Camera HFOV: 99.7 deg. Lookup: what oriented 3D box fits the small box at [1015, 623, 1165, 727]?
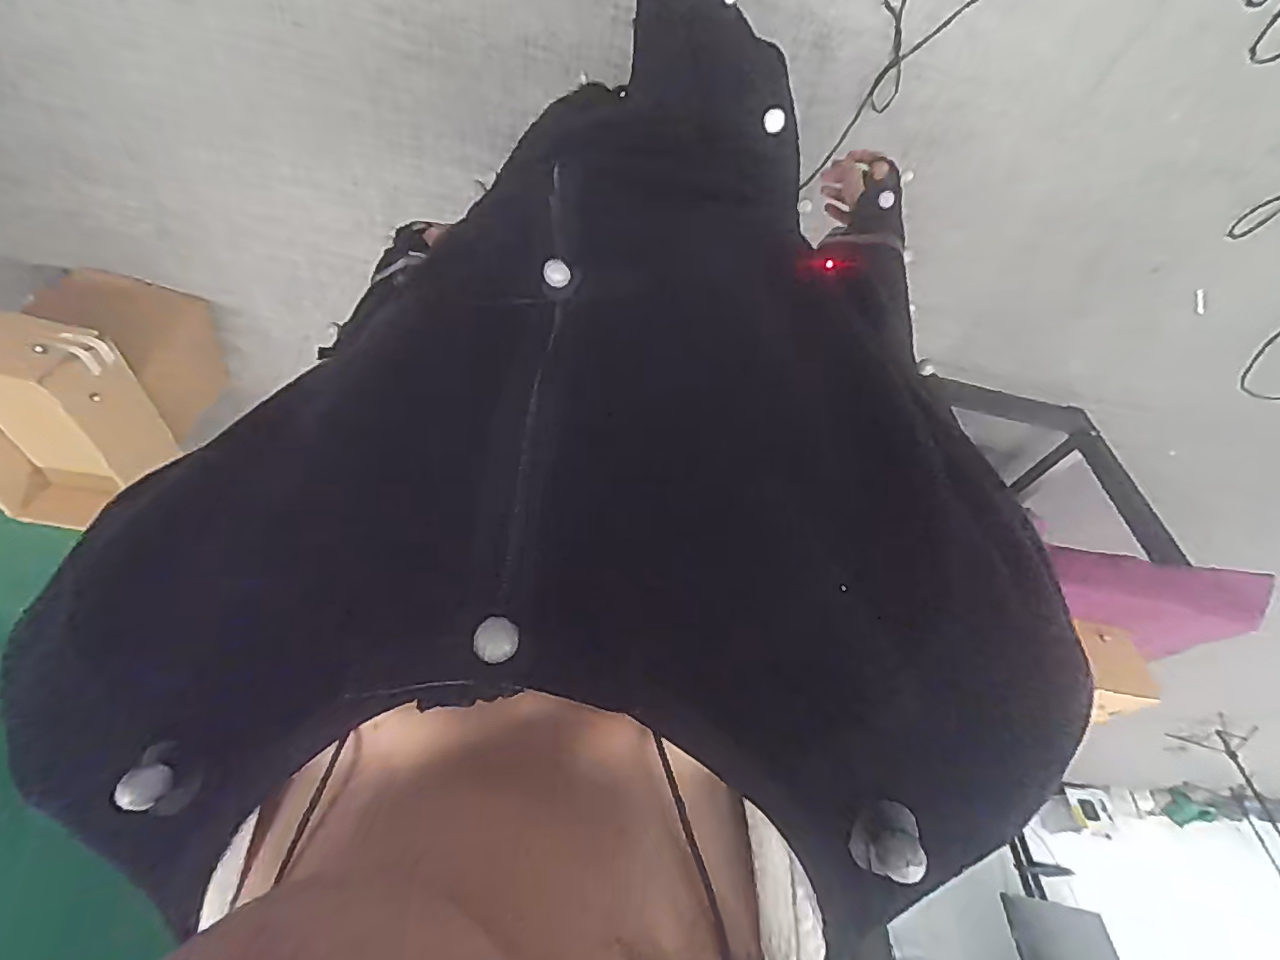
[{"bbox_3d":[1.020,0.448,1.246,0.179,0.176,0.168,13,139,-9],"label":"small box"}]
